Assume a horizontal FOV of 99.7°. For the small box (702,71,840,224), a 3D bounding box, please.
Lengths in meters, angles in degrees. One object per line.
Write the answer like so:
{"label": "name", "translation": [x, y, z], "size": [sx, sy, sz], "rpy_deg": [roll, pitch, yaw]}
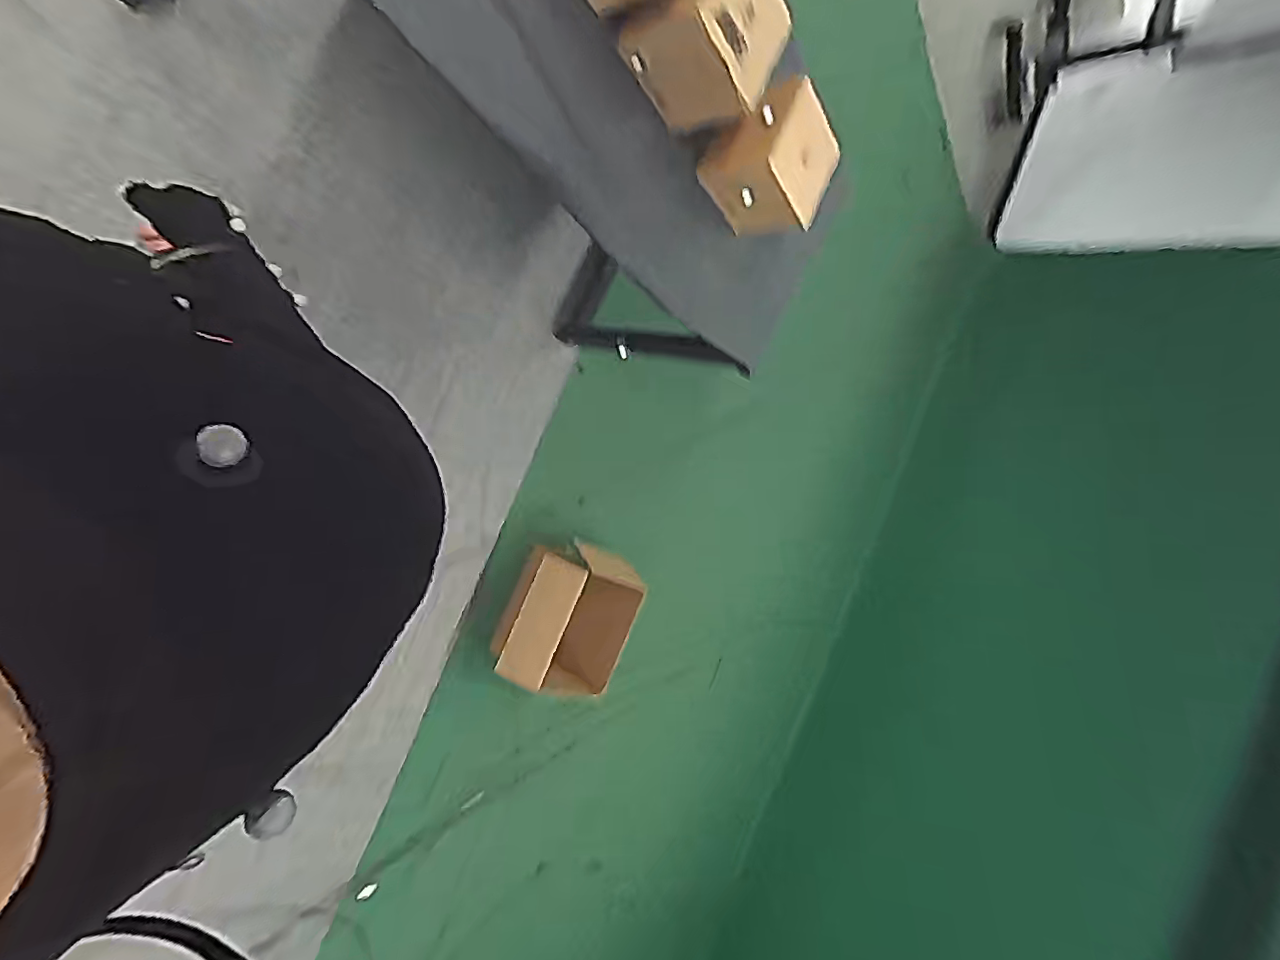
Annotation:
{"label": "small box", "translation": [0.241, -0.608, 1.018], "size": [0.168, 0.176, 0.179], "rpy_deg": [28, 84, -47]}
